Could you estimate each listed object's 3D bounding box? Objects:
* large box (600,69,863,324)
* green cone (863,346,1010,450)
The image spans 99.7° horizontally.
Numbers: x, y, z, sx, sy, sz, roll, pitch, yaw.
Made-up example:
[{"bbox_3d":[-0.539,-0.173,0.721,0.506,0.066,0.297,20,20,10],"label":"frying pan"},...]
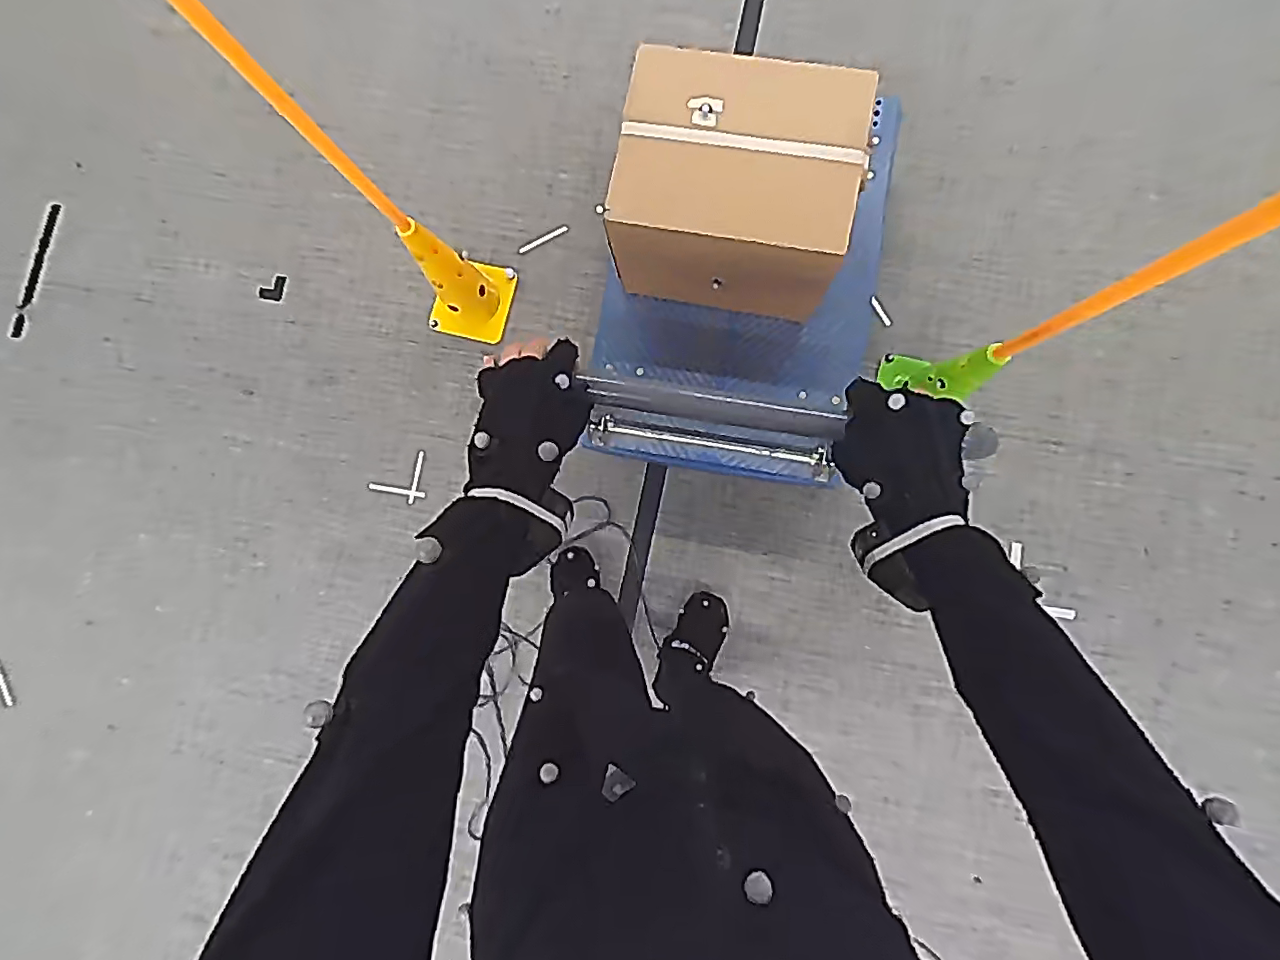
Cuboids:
[{"bbox_3d":[0.169,-0.523,1.056,0.408,0.320,0.320,11,87,7],"label":"large box"},{"bbox_3d":[0.639,-0.200,1.128,0.202,0.368,0.200,14,87,5],"label":"green cone"}]
